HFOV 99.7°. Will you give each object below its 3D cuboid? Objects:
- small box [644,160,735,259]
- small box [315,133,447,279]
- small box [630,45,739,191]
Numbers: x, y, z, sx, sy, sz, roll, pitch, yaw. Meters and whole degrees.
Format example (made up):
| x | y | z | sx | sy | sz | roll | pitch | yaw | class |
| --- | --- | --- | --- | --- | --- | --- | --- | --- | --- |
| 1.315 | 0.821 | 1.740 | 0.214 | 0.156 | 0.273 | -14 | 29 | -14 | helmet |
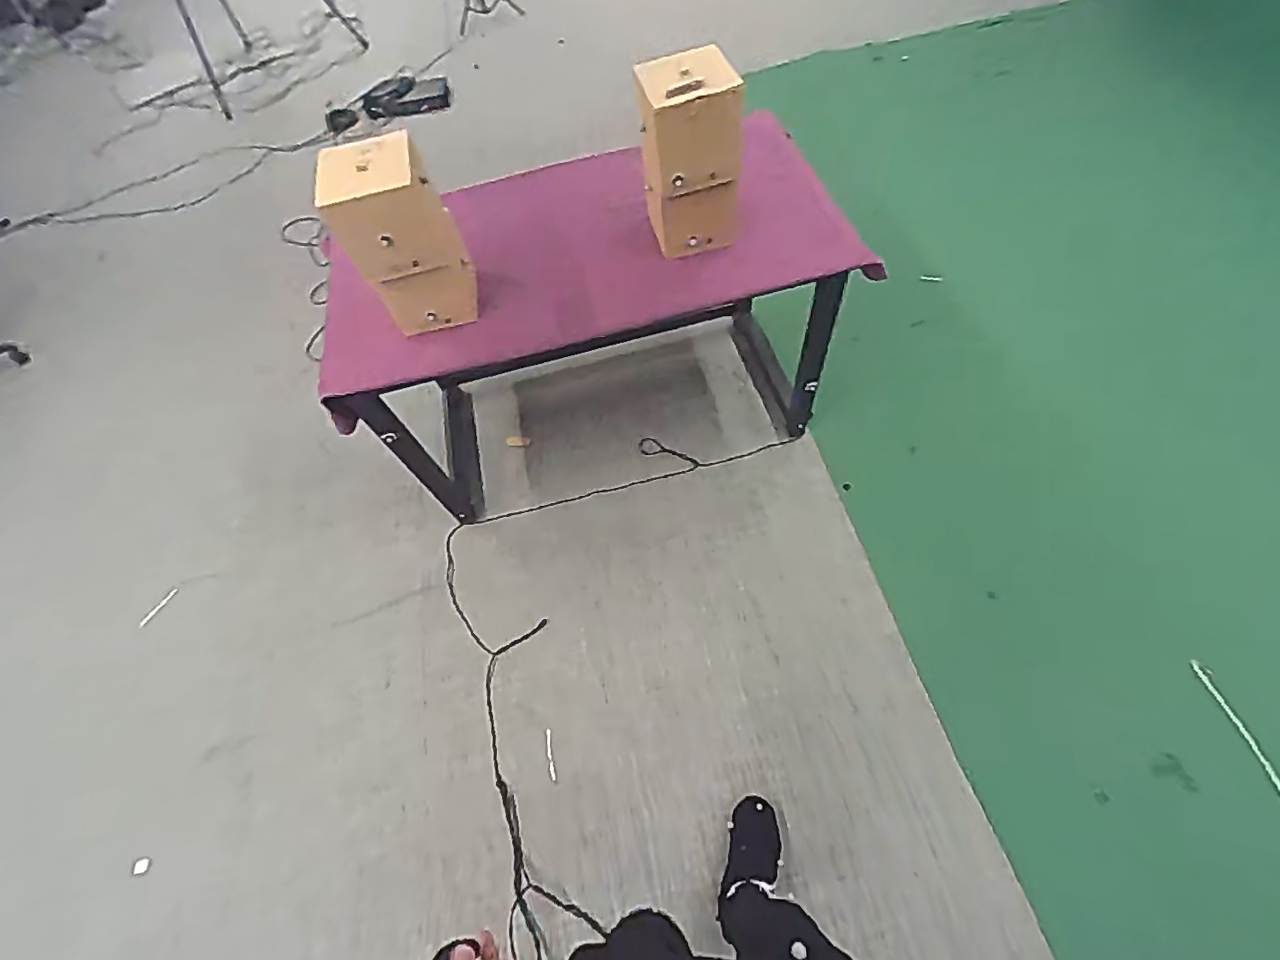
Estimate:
| x | y | z | sx | sy | sz | roll | pitch | yaw | class |
| --- | --- | --- | --- | --- | --- | --- | --- | --- | --- |
| 0.107 | -0.624 | 1.195 | 0.168 | 0.176 | 0.179 | -14 | 60 | 1 | small box |
| -0.476 | -0.502 | 1.015 | 0.168 | 0.176 | 0.179 | -15 | 61 | -2 | small box |
| 0.089 | -0.686 | 1.044 | 0.168 | 0.176 | 0.179 | -16 | 59 | 0 | small box |
